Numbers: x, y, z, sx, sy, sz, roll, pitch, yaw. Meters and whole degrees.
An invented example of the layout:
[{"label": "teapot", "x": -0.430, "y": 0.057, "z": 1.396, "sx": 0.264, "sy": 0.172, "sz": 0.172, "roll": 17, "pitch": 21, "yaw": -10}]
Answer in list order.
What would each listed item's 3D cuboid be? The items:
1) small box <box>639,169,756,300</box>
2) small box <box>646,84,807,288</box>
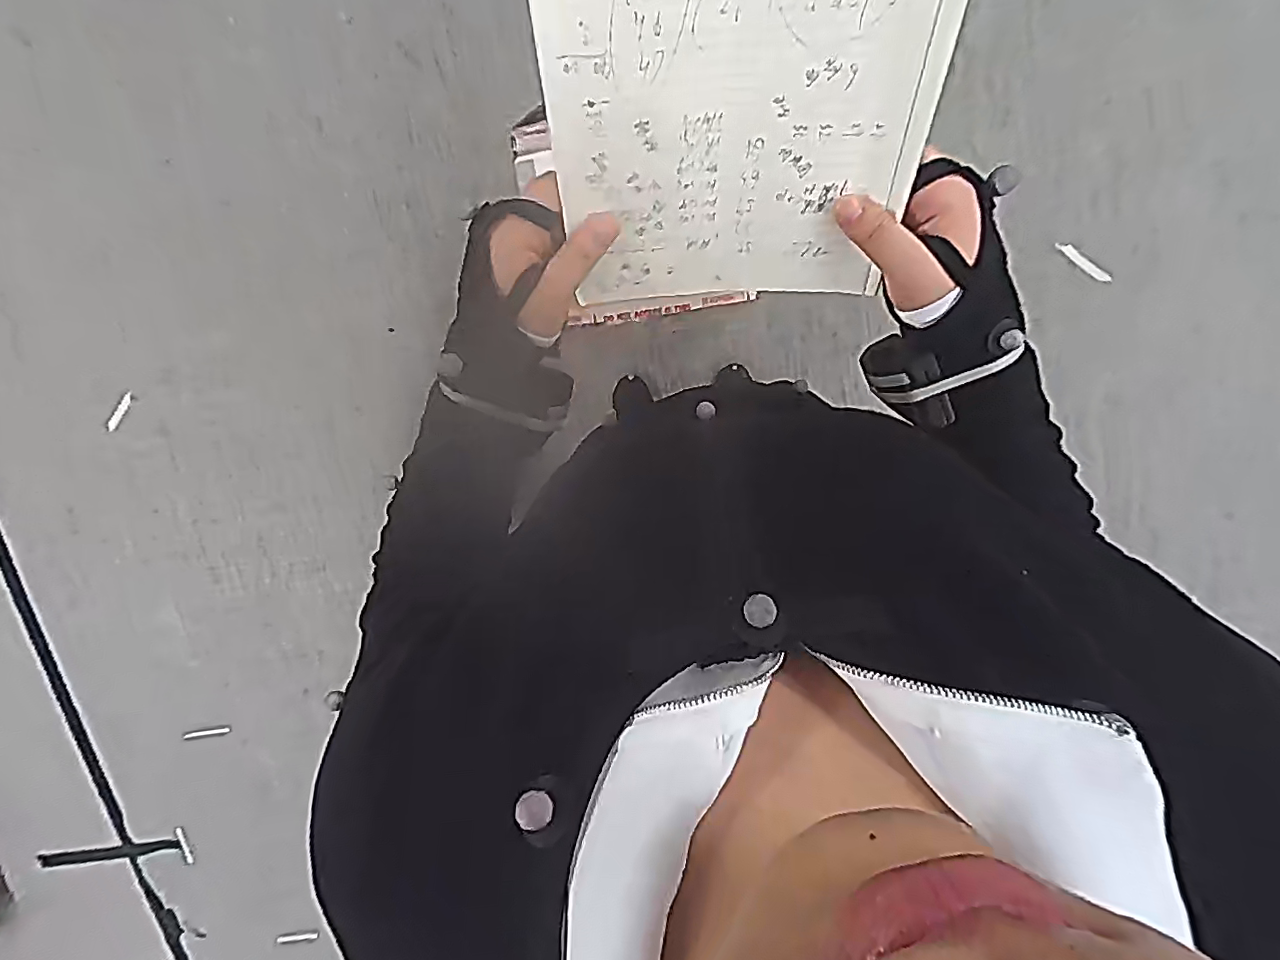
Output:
[{"label": "small box", "x": 0.097, "y": -0.391, "z": 0.851, "sx": 0.179, "sy": 0.176, "sz": 0.168, "roll": -12, "pitch": 101, "yaw": 3}, {"label": "small box", "x": 0.101, "y": -0.357, "z": 0.690, "sx": 0.168, "sy": 0.176, "sz": 0.179, "roll": -9, "pitch": 103, "yaw": 2}]
